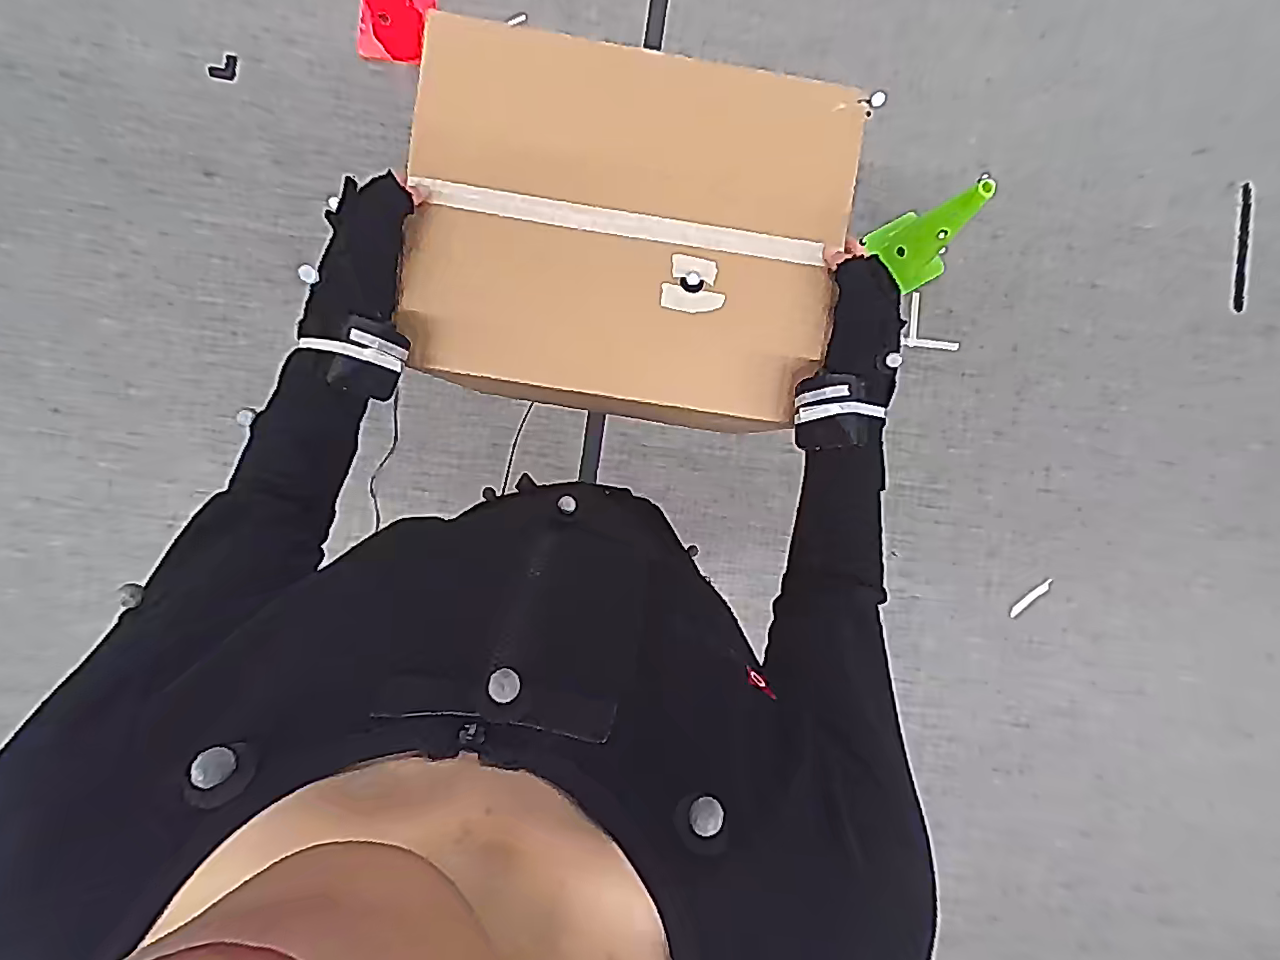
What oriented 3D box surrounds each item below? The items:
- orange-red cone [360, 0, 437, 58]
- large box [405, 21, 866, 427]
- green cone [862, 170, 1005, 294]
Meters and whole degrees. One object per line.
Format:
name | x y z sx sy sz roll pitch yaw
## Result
orange-red cone | -0.647 -1.250 1.296 0.198 0.360 0.199 5 90 -2
large box | -0.011 -0.247 0.652 0.408 0.320 0.320 9 94 -3
green cone | 0.769 -0.657 1.371 0.202 0.368 0.200 -30 92 -5
